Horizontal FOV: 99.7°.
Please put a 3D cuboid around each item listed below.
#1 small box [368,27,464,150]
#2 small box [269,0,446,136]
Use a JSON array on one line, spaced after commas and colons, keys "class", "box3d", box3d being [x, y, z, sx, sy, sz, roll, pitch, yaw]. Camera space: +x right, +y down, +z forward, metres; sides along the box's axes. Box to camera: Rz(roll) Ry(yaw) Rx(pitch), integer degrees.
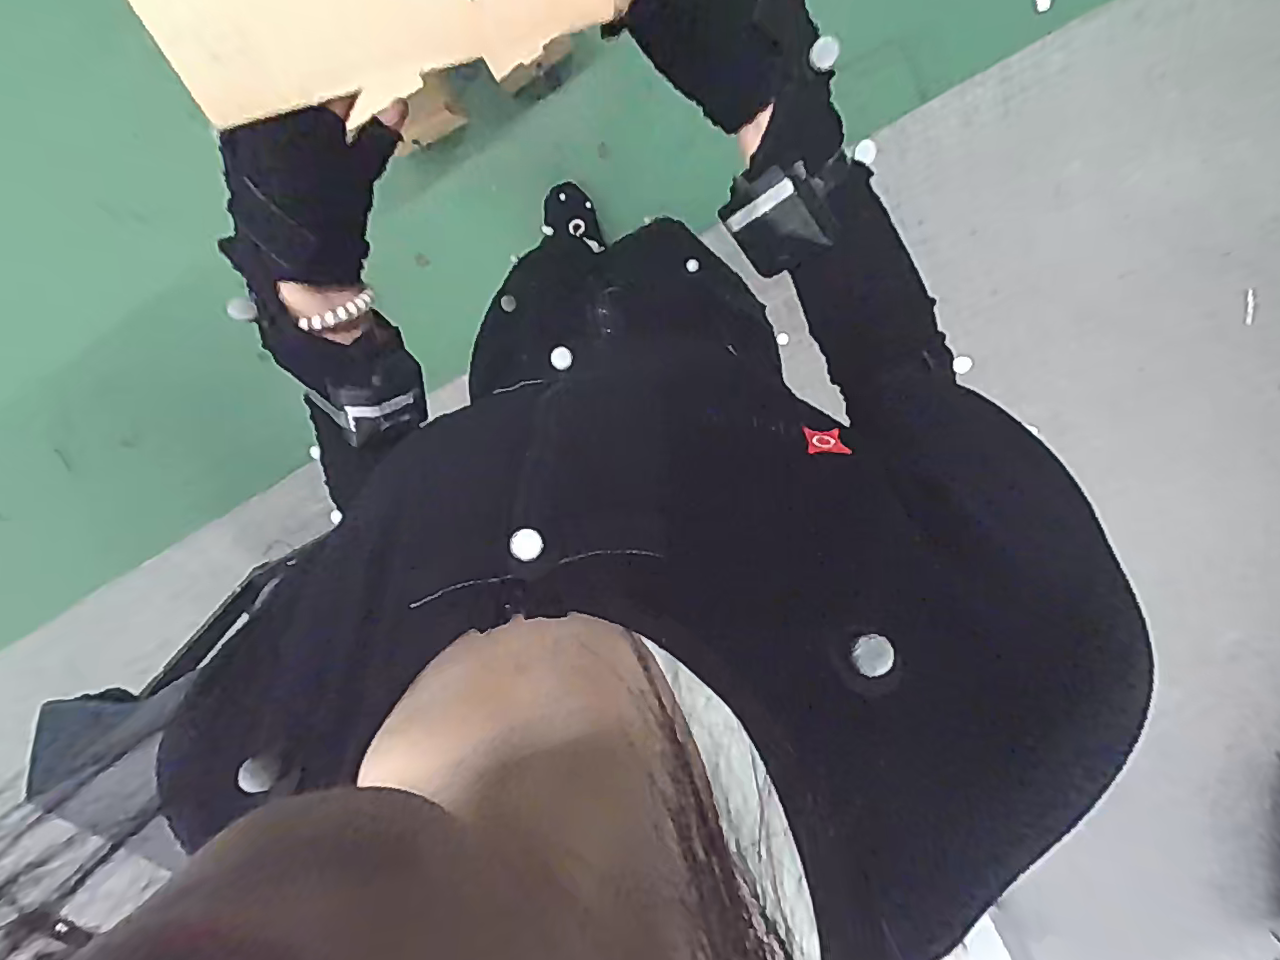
[{"class": "small box", "box3d": [-0.475, -0.780, 1.070, 0.168, 0.176, 0.179, -22, 117, 9]}, {"class": "small box", "box3d": [-0.463, -0.713, 0.919, 0.179, 0.176, 0.168, -23, 117, 9]}]
